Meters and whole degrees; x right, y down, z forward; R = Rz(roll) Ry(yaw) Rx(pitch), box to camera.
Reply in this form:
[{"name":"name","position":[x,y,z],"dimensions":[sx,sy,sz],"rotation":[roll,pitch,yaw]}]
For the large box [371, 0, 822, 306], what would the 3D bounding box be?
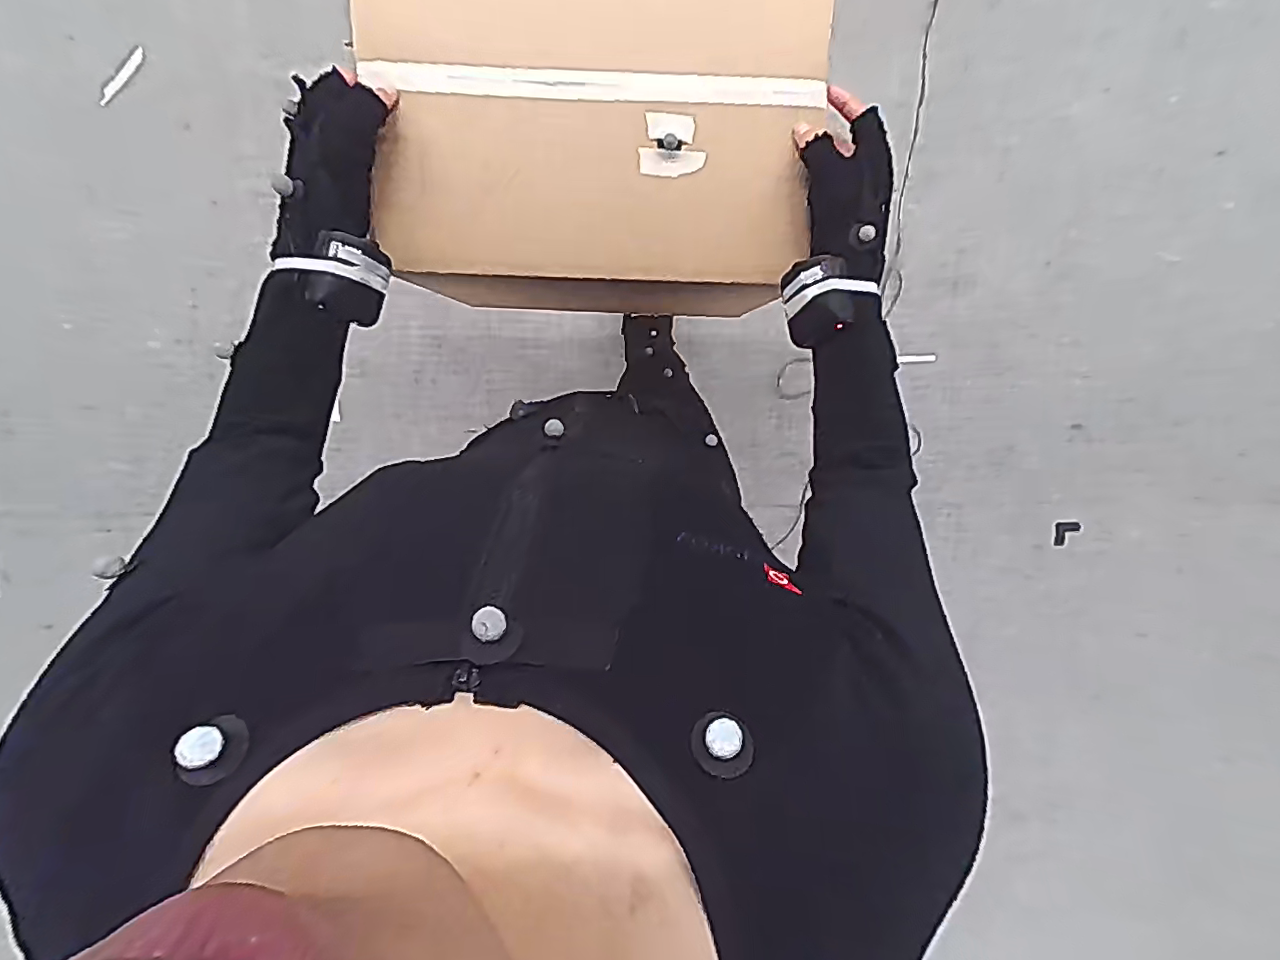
[{"name":"large box","position":[-0.044,-0.383,0.632],"dimensions":[0.408,0.320,0.320],"rotation":[1,102,-3]}]
